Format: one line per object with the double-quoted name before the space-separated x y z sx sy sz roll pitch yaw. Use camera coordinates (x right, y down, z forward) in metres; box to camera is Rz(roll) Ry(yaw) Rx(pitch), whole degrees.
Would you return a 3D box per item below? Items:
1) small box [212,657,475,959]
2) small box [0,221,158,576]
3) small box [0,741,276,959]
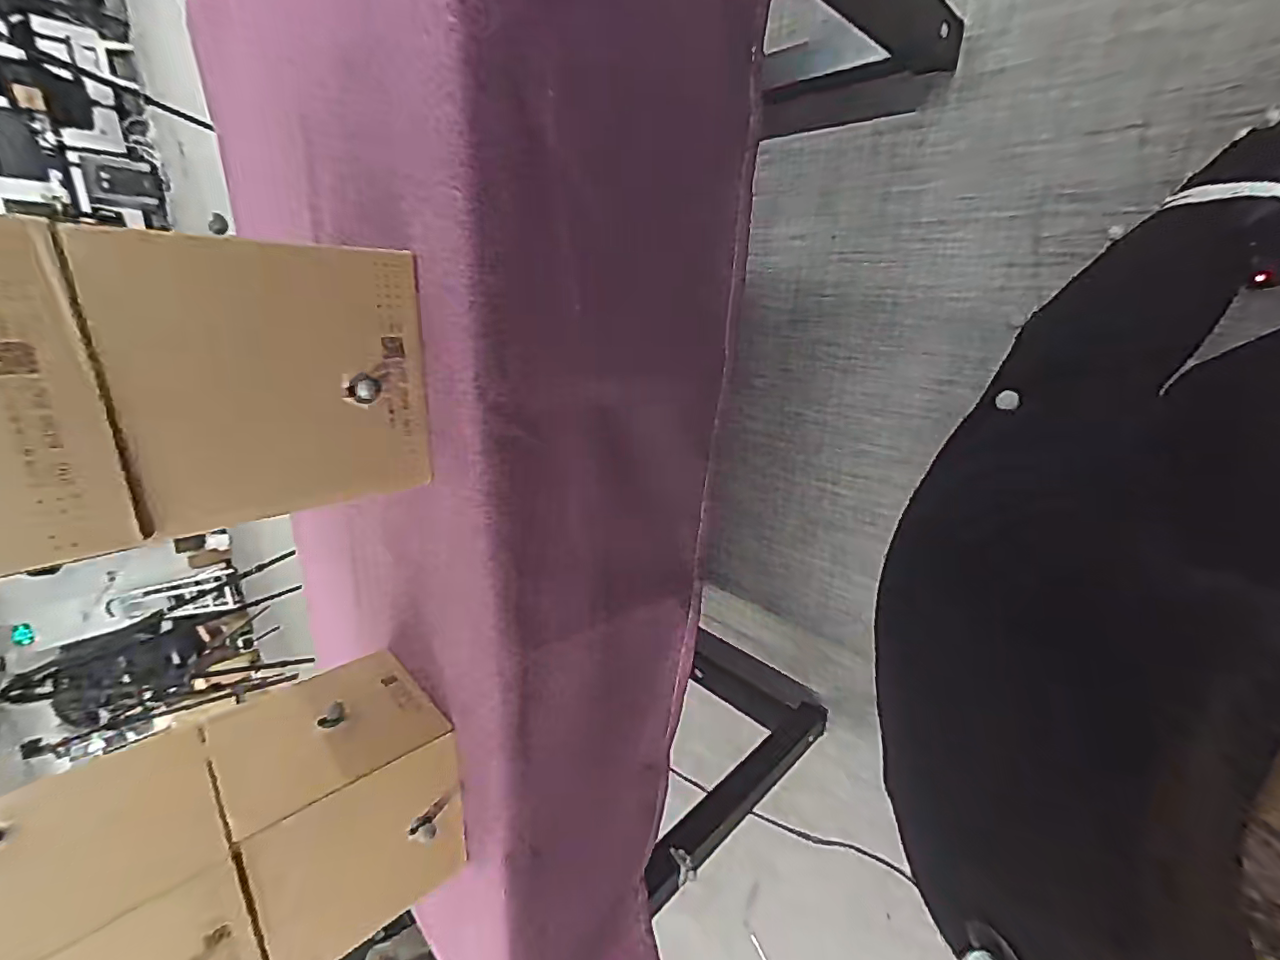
"small box" -0.275 0.302 0.516 0.168 0.176 0.179 19 114 42
"small box" -0.377 -0.045 0.274 0.179 0.176 0.168 20 116 41
"small box" -0.395 0.334 0.408 0.179 0.176 0.168 20 117 41
